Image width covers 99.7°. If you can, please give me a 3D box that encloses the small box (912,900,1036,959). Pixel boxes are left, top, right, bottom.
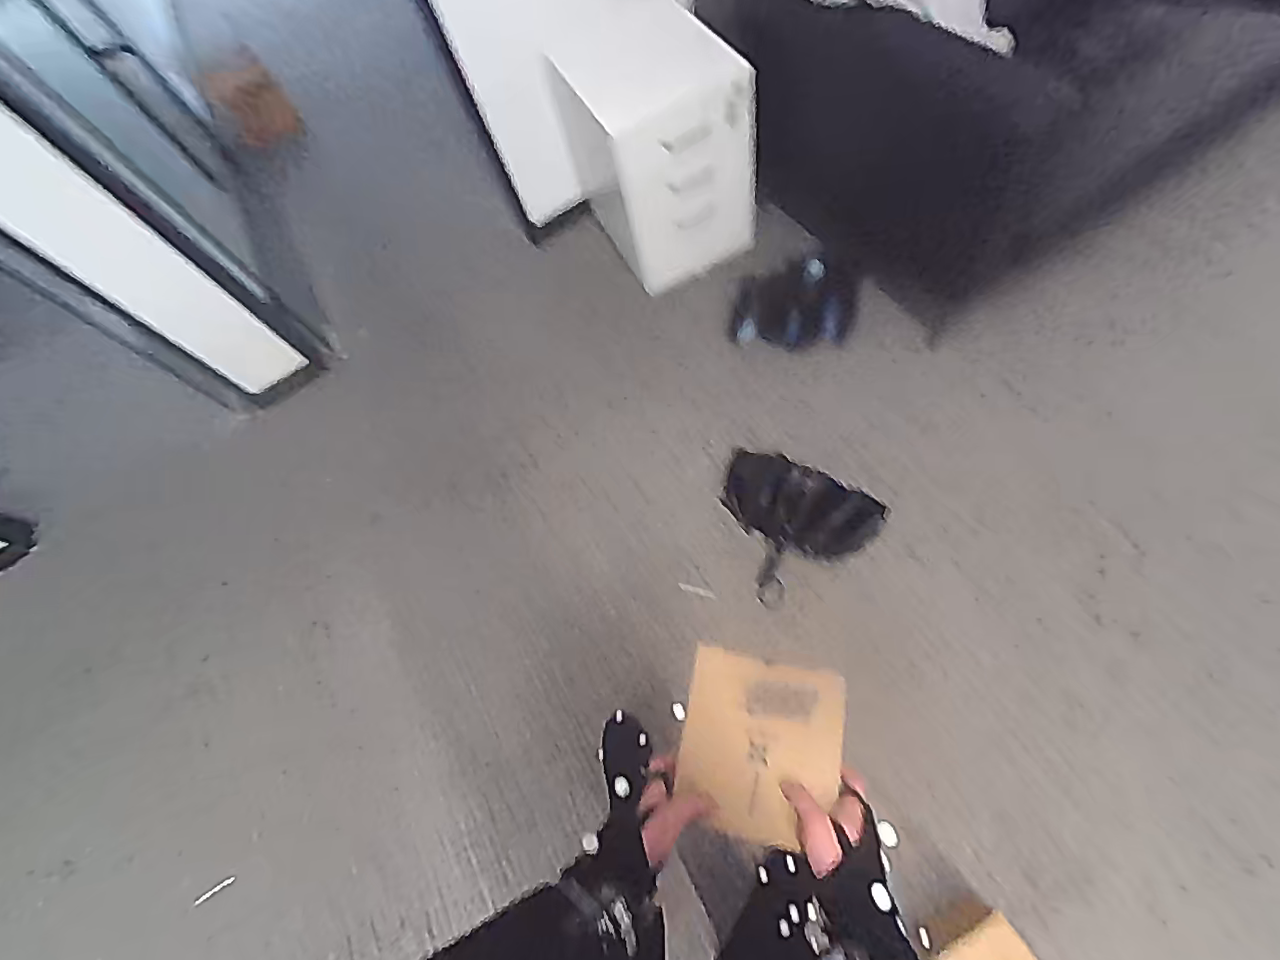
[{"bbox_3d":[0.611,0.892,0.952,0.179,0.176,0.168,-33,62,-6],"label":"small box"}]

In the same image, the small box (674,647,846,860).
[{"bbox_3d":[0.135,0.312,0.640,0.168,0.176,0.179,8,66,9],"label":"small box"}]
